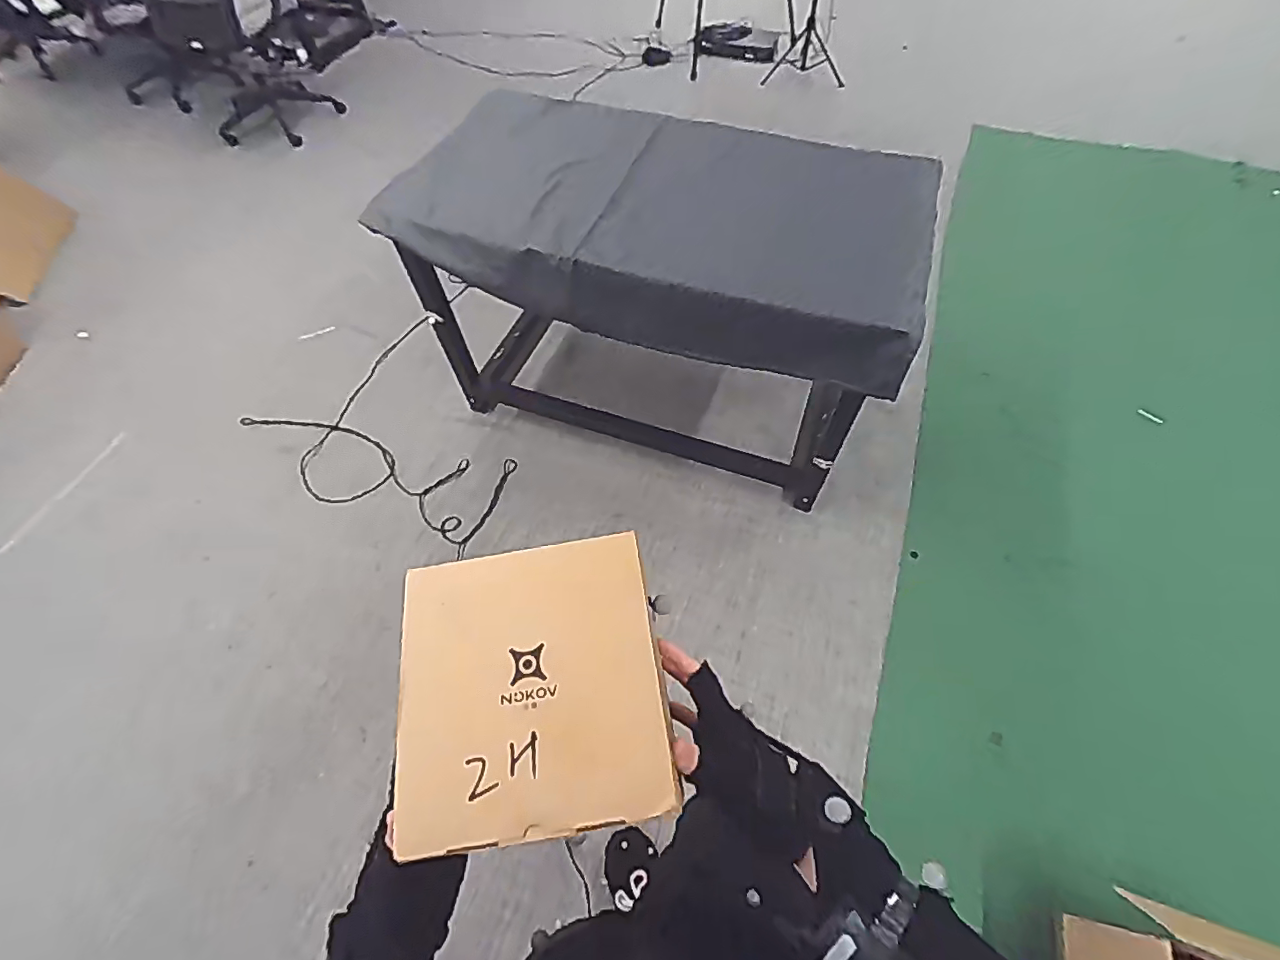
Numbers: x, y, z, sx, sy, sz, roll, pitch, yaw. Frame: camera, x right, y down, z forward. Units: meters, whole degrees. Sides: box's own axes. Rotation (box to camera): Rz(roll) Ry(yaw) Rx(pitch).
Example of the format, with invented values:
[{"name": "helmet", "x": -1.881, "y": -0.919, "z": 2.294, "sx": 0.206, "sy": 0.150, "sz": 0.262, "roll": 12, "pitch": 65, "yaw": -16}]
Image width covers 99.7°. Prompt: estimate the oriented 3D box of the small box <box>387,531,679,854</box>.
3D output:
[{"name": "small box", "x": -0.066, "y": 0.160, "z": 0.412, "sx": 0.168, "sy": 0.176, "sz": 0.179, "roll": -10, "pitch": 62, "yaw": 1}]
